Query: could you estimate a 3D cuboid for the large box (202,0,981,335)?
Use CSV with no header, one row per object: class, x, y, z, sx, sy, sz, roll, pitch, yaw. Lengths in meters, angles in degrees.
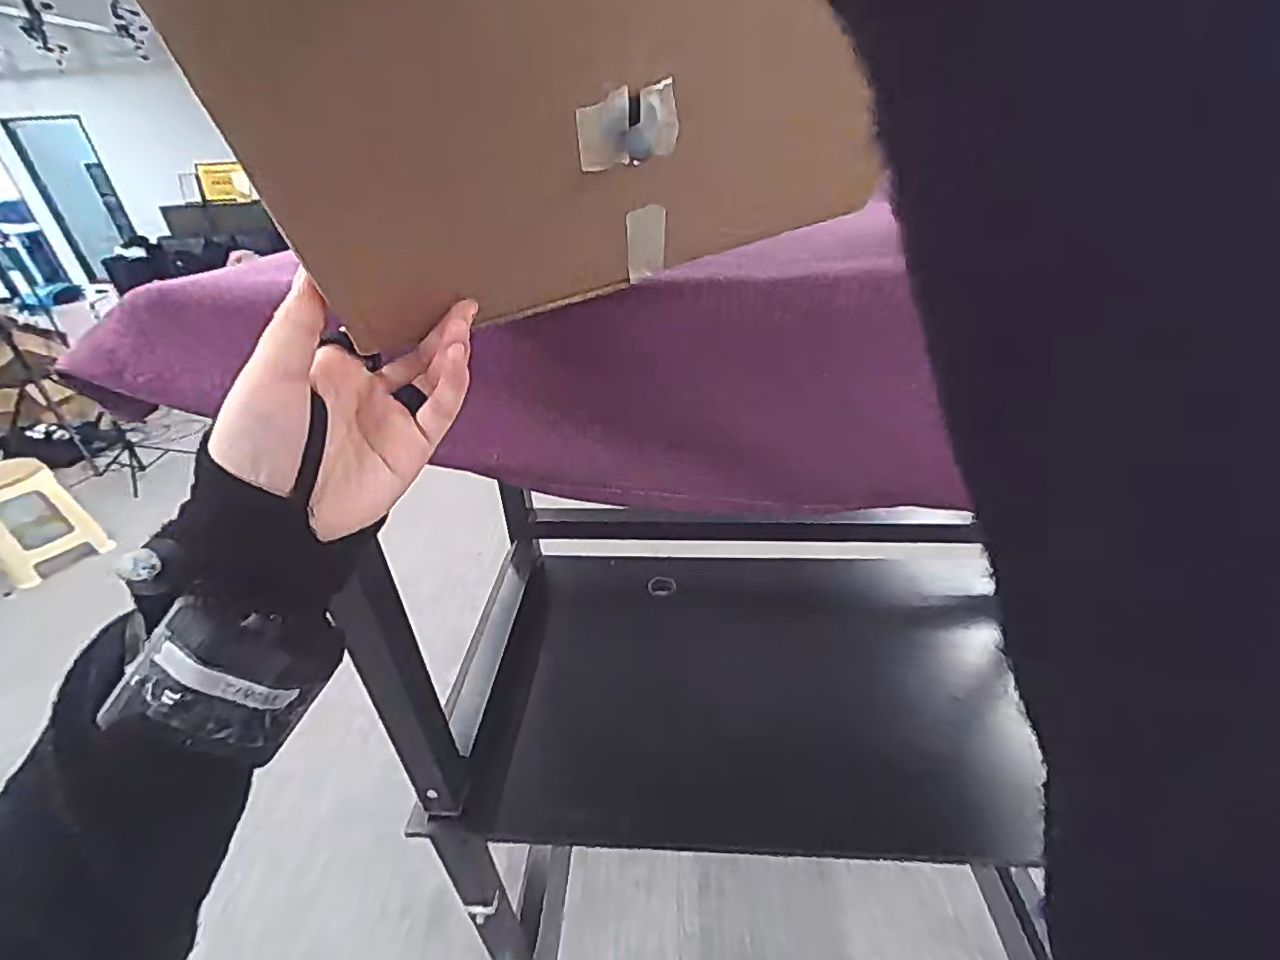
large box,-0.061,-0.343,0.227,0.320,0.320,0.408,-21,70,-14
